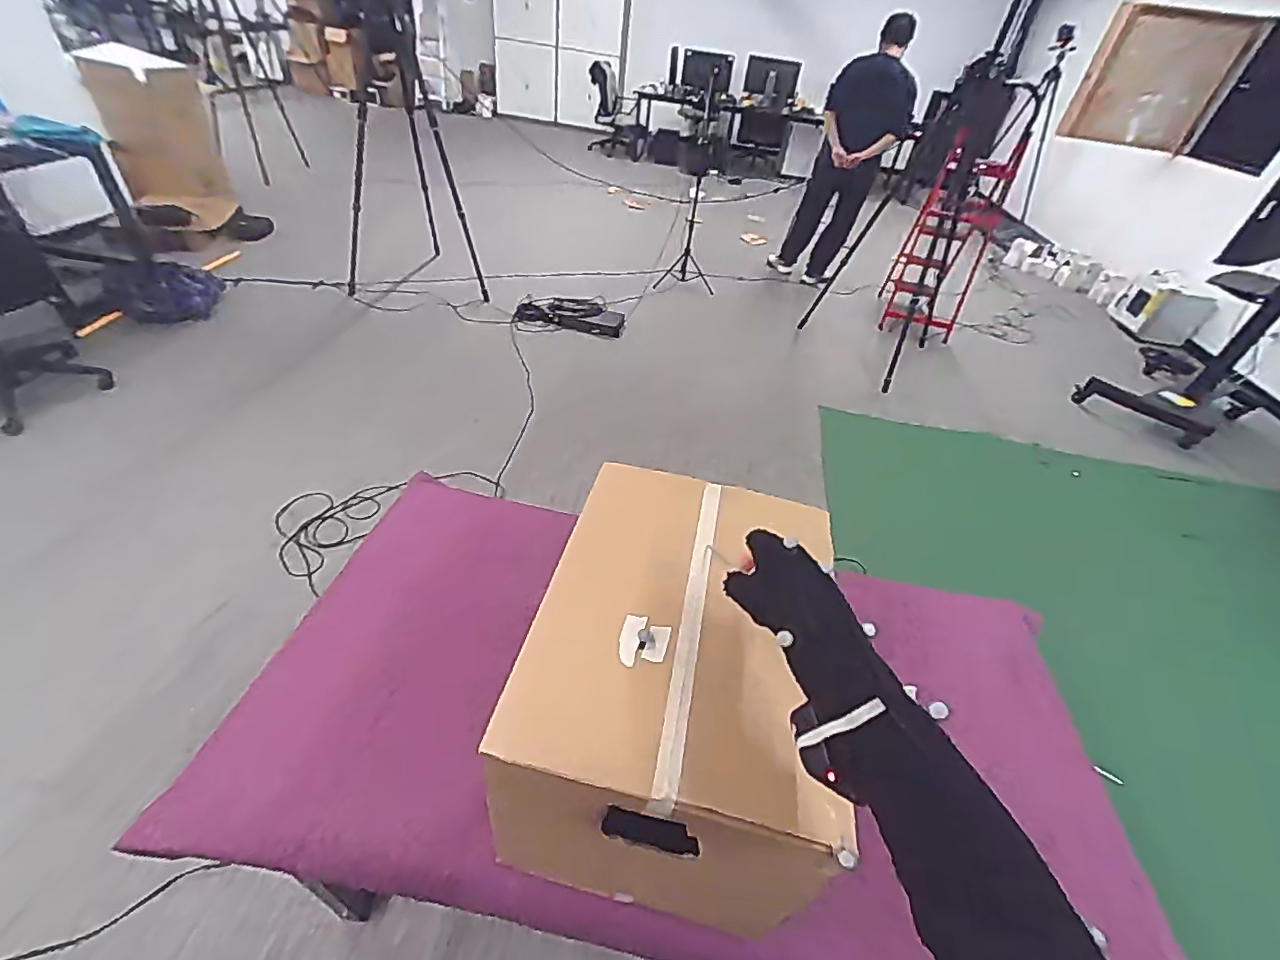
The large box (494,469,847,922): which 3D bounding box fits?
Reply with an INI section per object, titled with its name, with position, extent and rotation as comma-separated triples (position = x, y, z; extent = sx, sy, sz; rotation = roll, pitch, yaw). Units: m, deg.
[large box]
position = 0.040, 0.253, 0.695
extent = 0.320, 0.320, 0.408
rotation = 13, 41, 5
